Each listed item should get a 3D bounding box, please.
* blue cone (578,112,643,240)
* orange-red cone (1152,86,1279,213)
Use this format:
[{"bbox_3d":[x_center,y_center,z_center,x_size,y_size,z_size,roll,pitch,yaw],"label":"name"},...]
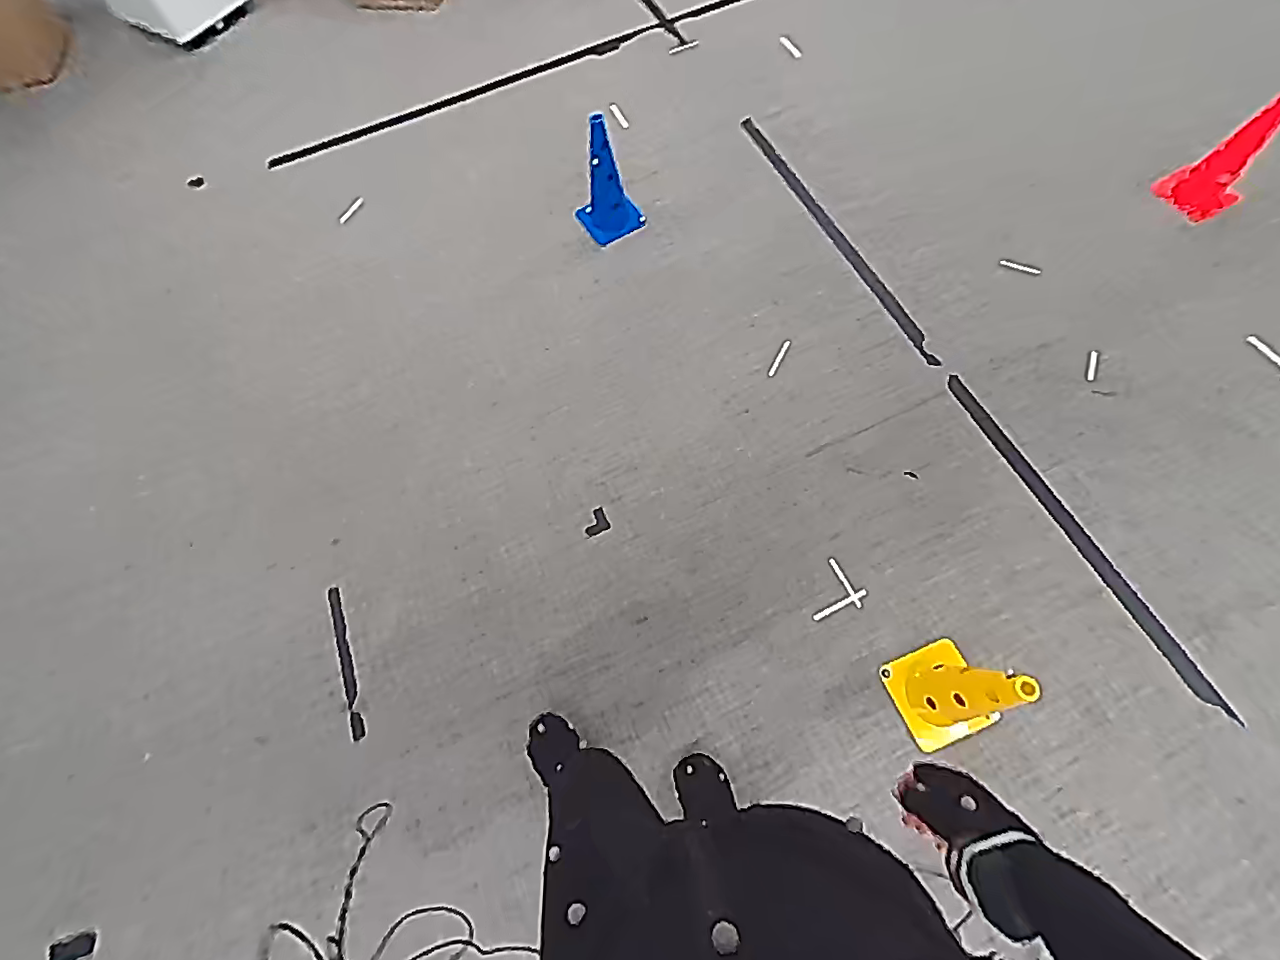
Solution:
[{"bbox_3d":[-0.120,-1.001,1.765,0.192,0.380,0.193,-29,68,-8],"label":"blue cone"},{"bbox_3d":[1.833,-1.047,1.647,0.198,0.360,0.199,-28,67,-8],"label":"orange-red cone"}]
